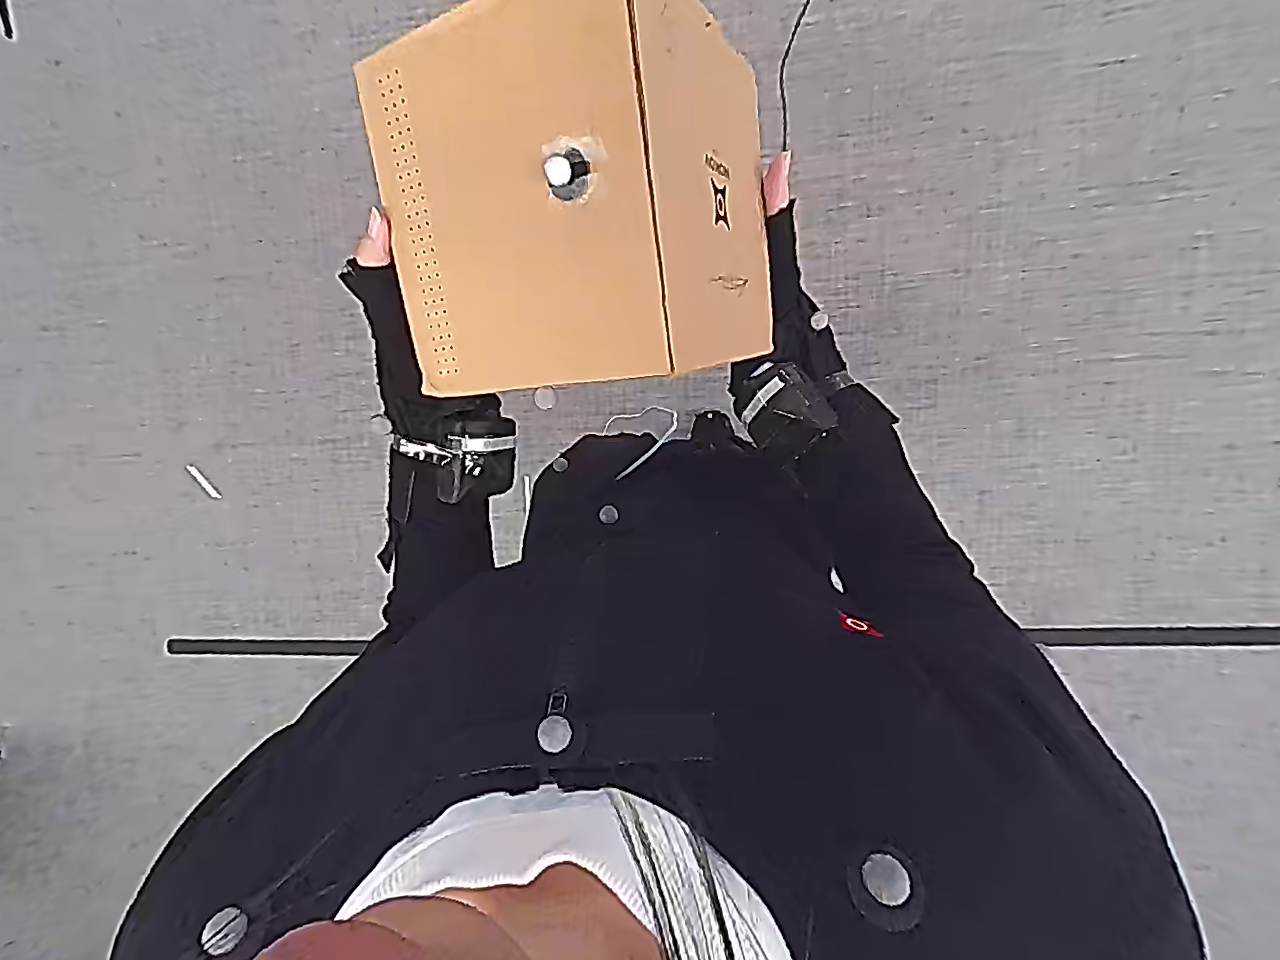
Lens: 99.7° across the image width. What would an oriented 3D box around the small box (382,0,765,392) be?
[{"bbox_3d":[-0.030,-0.157,0.341,0.176,0.168,0.179,1,105,29],"label":"small box"}]
